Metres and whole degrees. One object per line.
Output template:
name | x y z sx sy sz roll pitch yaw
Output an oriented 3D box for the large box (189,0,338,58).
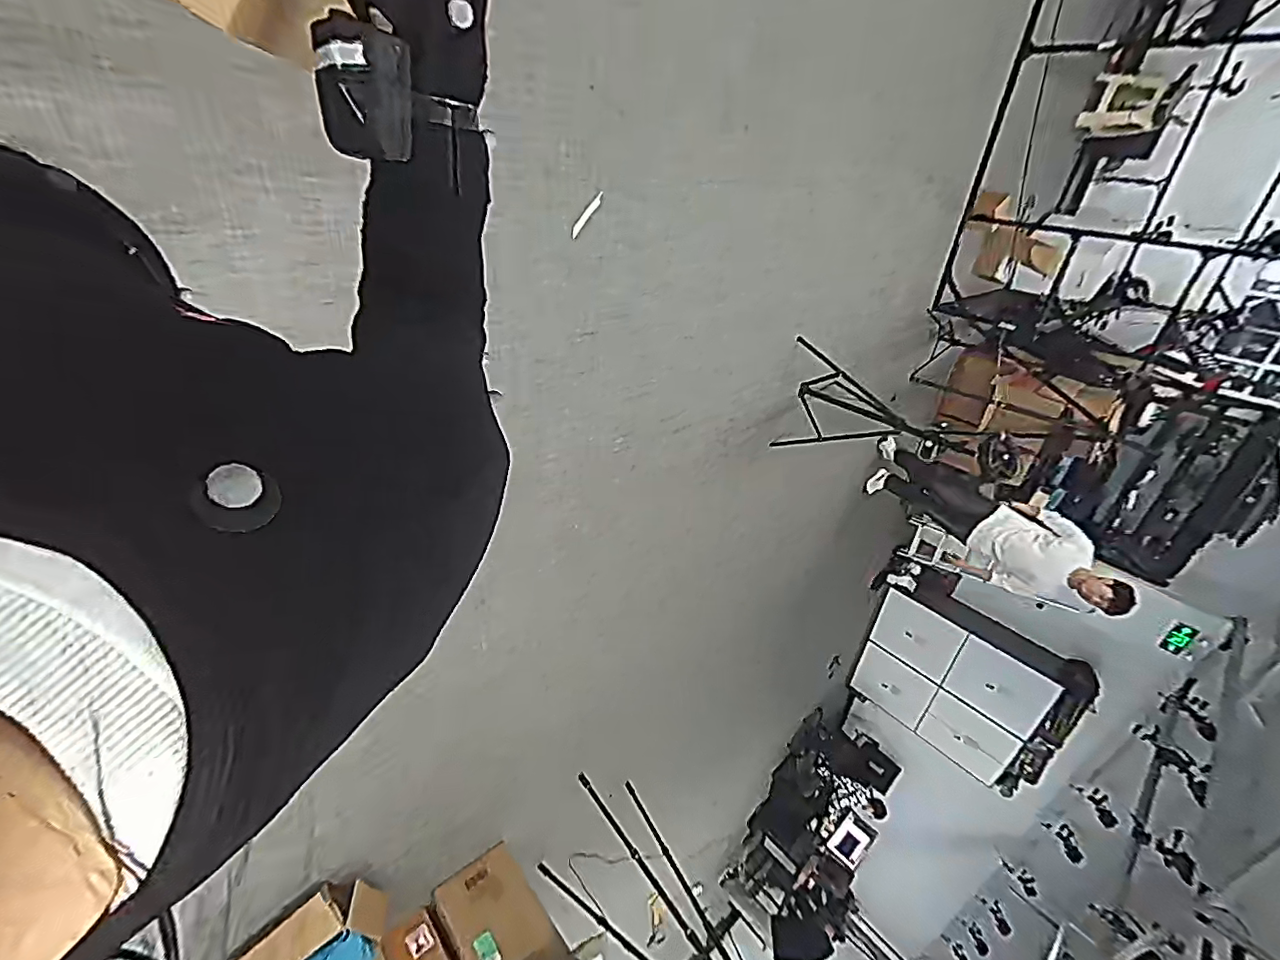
large box | -0.324 -0.496 0.241 0.408 0.320 0.320 24 112 -35
